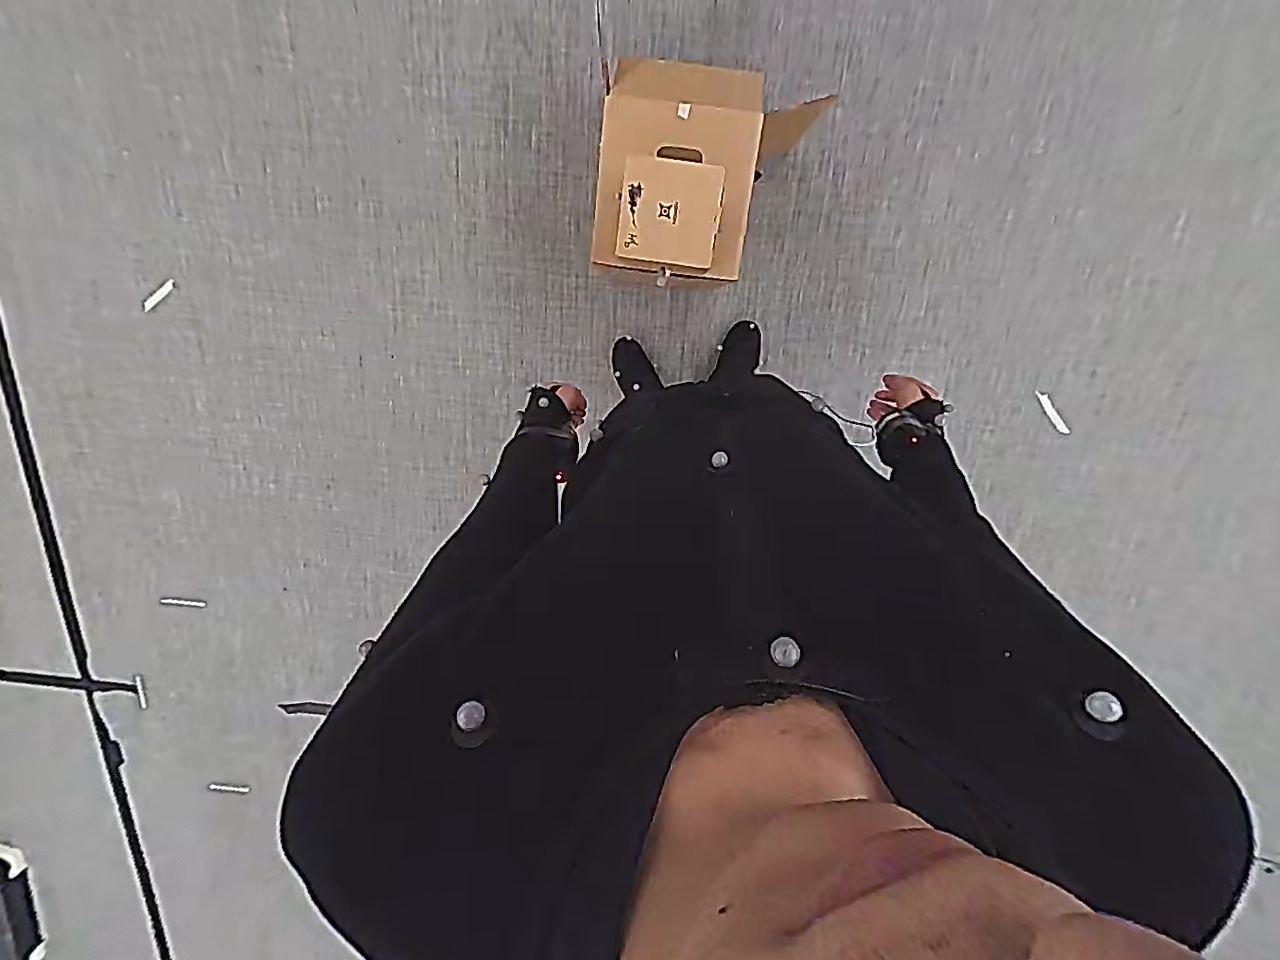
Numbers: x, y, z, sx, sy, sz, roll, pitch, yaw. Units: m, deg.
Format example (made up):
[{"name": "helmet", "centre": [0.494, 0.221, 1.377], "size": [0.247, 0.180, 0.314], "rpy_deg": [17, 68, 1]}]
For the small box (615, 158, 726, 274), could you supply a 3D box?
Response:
[{"name": "small box", "centre": [0.054, -0.492, 1.030], "size": [0.179, 0.176, 0.168], "rpy_deg": [8, 108, -1]}]
